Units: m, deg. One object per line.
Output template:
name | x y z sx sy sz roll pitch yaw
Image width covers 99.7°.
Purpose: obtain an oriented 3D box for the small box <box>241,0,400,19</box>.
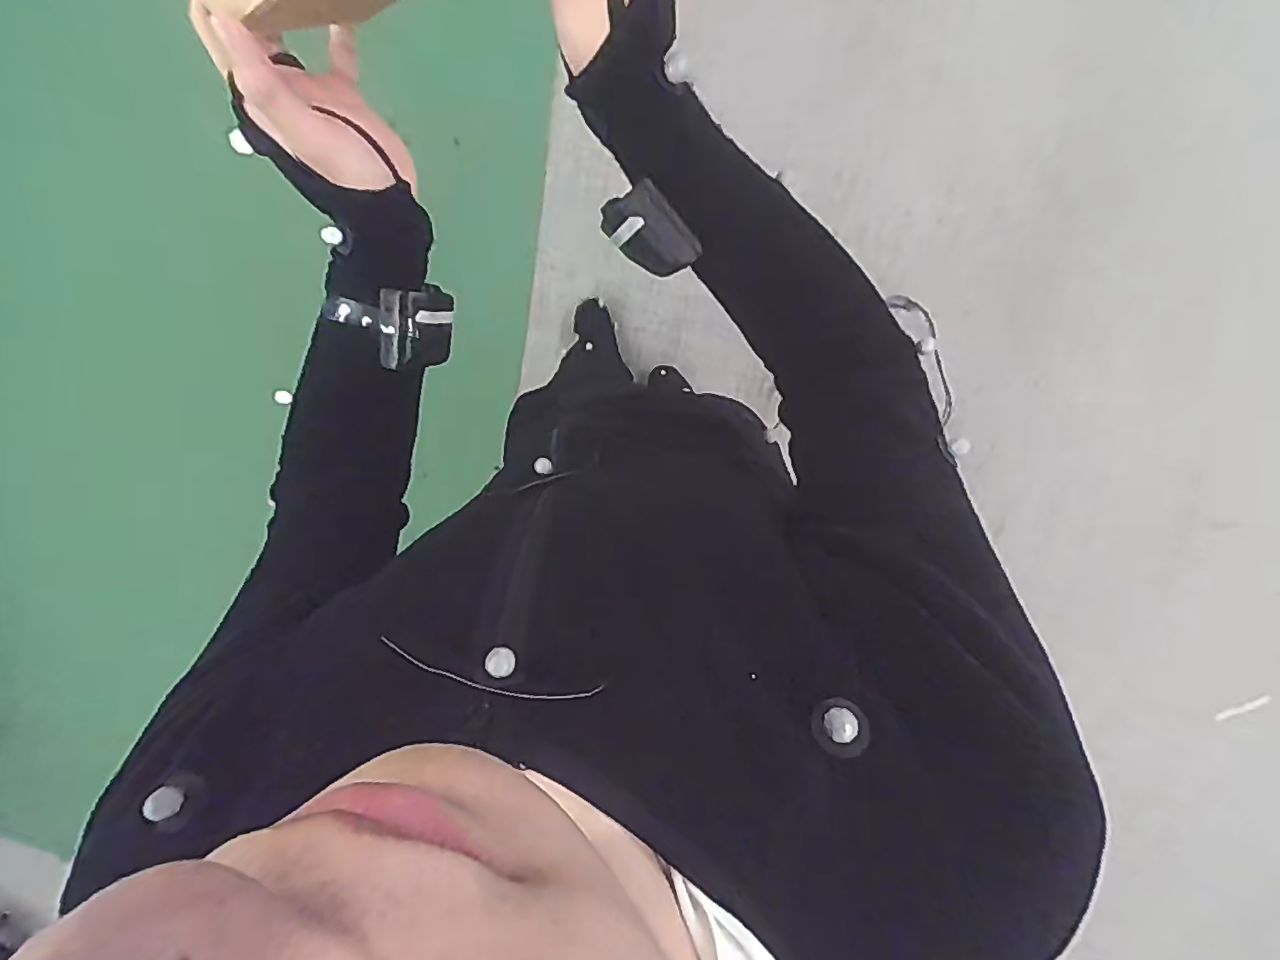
small box | -0.147 -0.370 0.266 0.179 0.176 0.168 -16 128 17
